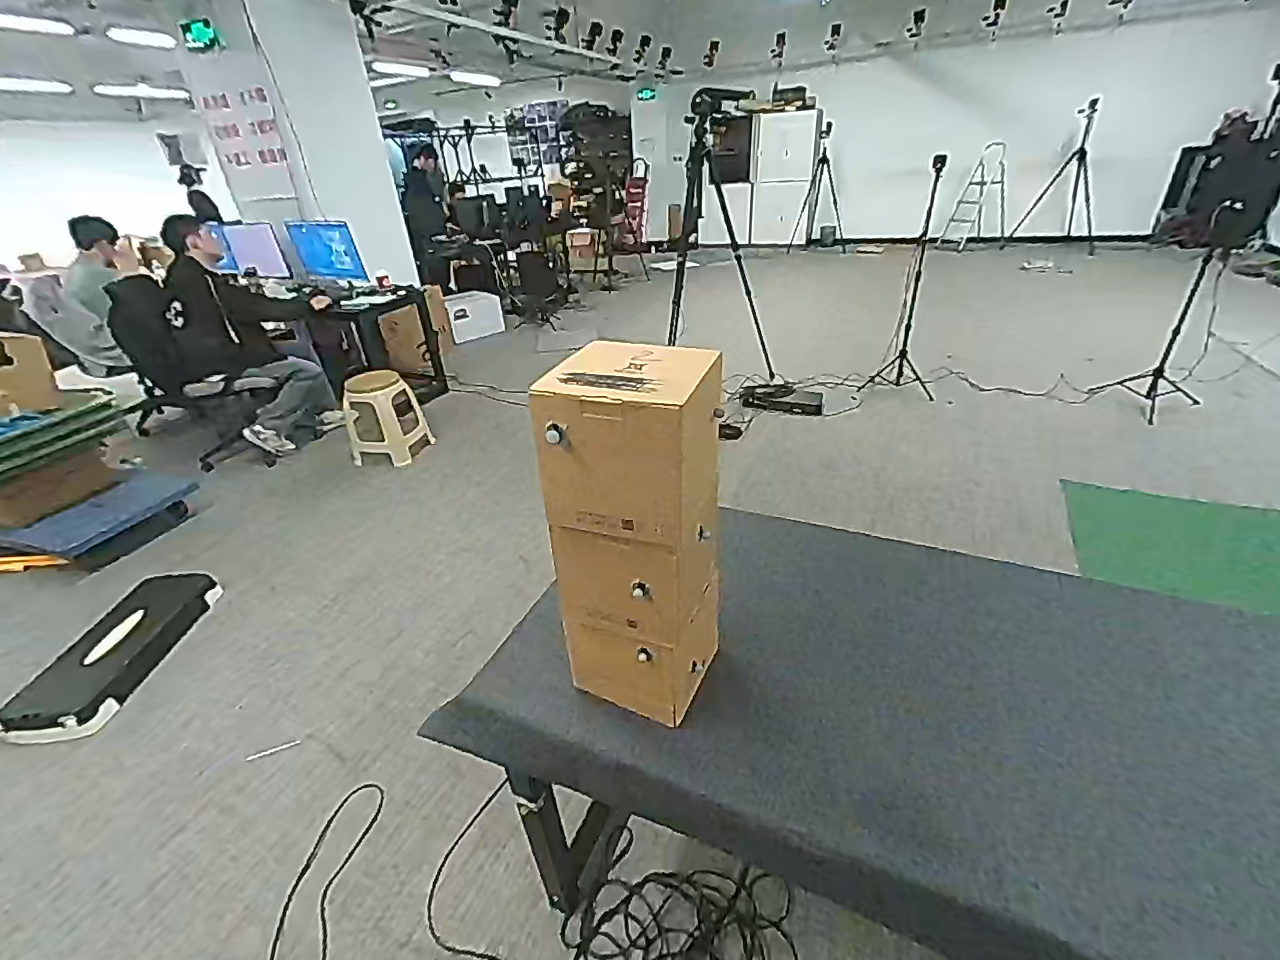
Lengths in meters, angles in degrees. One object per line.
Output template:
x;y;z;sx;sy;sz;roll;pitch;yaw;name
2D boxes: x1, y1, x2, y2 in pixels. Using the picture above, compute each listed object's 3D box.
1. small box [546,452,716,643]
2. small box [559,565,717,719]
-0.002;0.085;0.719;0.168;0.176;0.179;11;32;19;small box
0.004;0.220;0.808;0.179;0.176;0.168;13;34;25;small box
